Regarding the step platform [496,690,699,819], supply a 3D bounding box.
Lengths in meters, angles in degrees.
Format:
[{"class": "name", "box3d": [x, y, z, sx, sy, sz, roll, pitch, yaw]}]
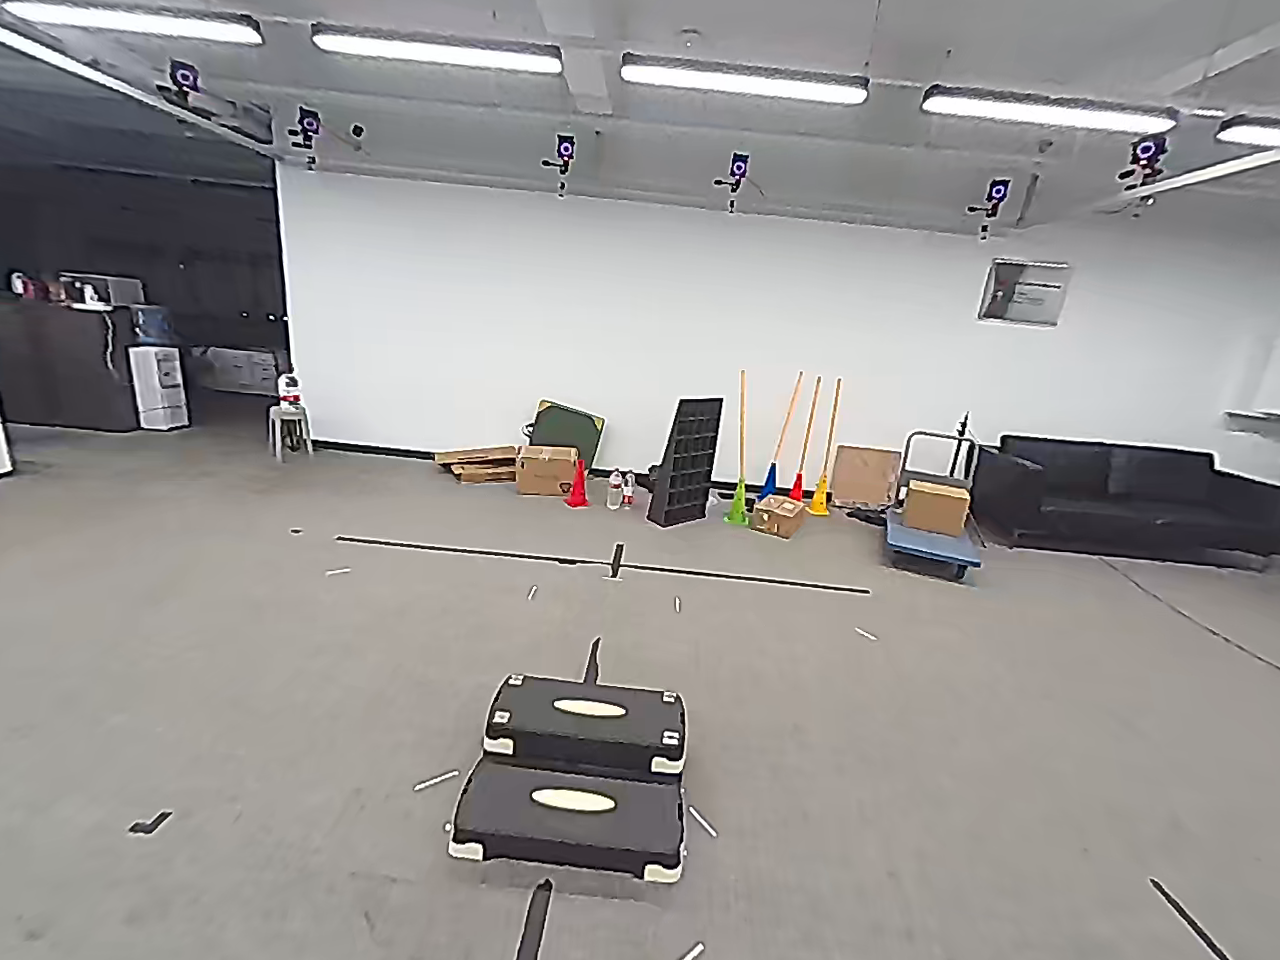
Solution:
[{"class": "step platform", "box3d": [-0.138, 0.932, 1.869, 0.684, 0.204, 0.286, 7, 15, 6]}]
